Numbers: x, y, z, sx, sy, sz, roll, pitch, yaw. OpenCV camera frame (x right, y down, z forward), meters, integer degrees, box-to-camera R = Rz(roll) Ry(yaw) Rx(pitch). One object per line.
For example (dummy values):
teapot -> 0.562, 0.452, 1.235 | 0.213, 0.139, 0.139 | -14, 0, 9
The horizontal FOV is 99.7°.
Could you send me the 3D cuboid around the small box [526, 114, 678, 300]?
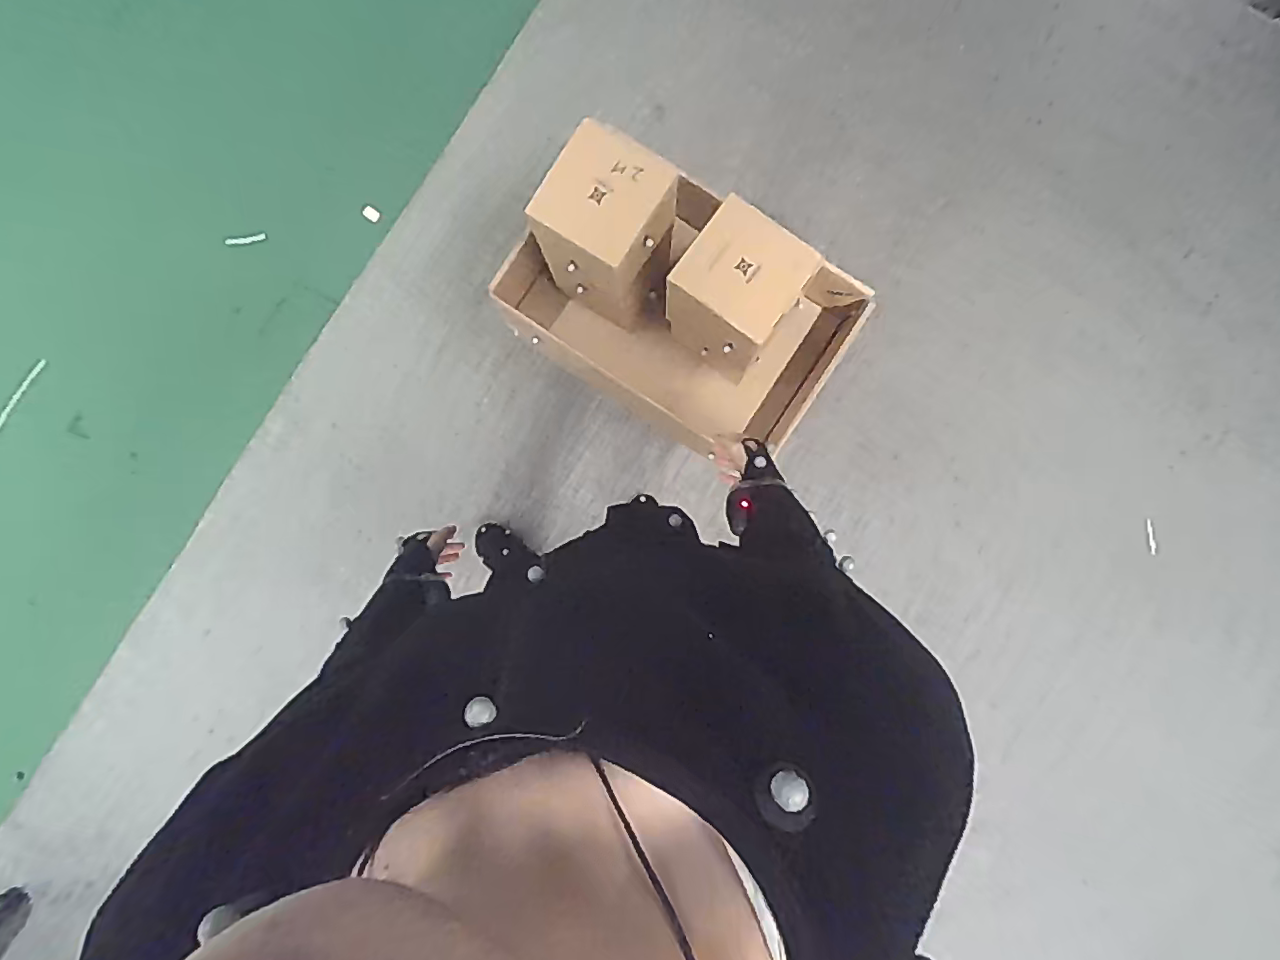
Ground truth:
small box -> -0.052, -0.424, 0.873 | 0.168, 0.176, 0.179 | 33, 89, 3
